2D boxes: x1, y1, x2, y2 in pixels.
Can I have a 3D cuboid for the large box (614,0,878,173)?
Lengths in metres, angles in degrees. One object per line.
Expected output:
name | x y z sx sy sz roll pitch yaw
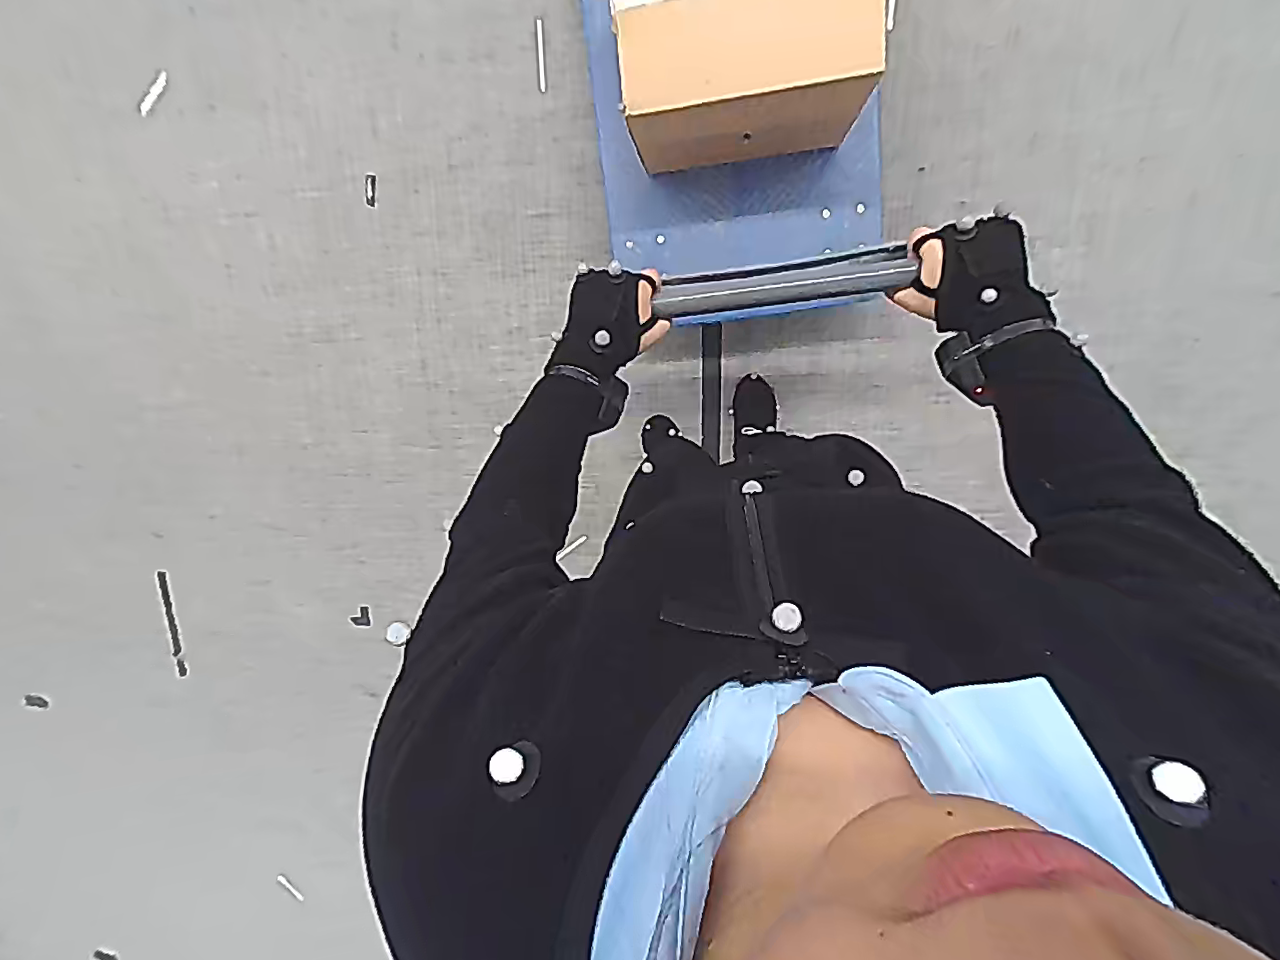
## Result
large box | 0.180 -0.797 0.979 0.408 0.320 0.320 -4 102 10
